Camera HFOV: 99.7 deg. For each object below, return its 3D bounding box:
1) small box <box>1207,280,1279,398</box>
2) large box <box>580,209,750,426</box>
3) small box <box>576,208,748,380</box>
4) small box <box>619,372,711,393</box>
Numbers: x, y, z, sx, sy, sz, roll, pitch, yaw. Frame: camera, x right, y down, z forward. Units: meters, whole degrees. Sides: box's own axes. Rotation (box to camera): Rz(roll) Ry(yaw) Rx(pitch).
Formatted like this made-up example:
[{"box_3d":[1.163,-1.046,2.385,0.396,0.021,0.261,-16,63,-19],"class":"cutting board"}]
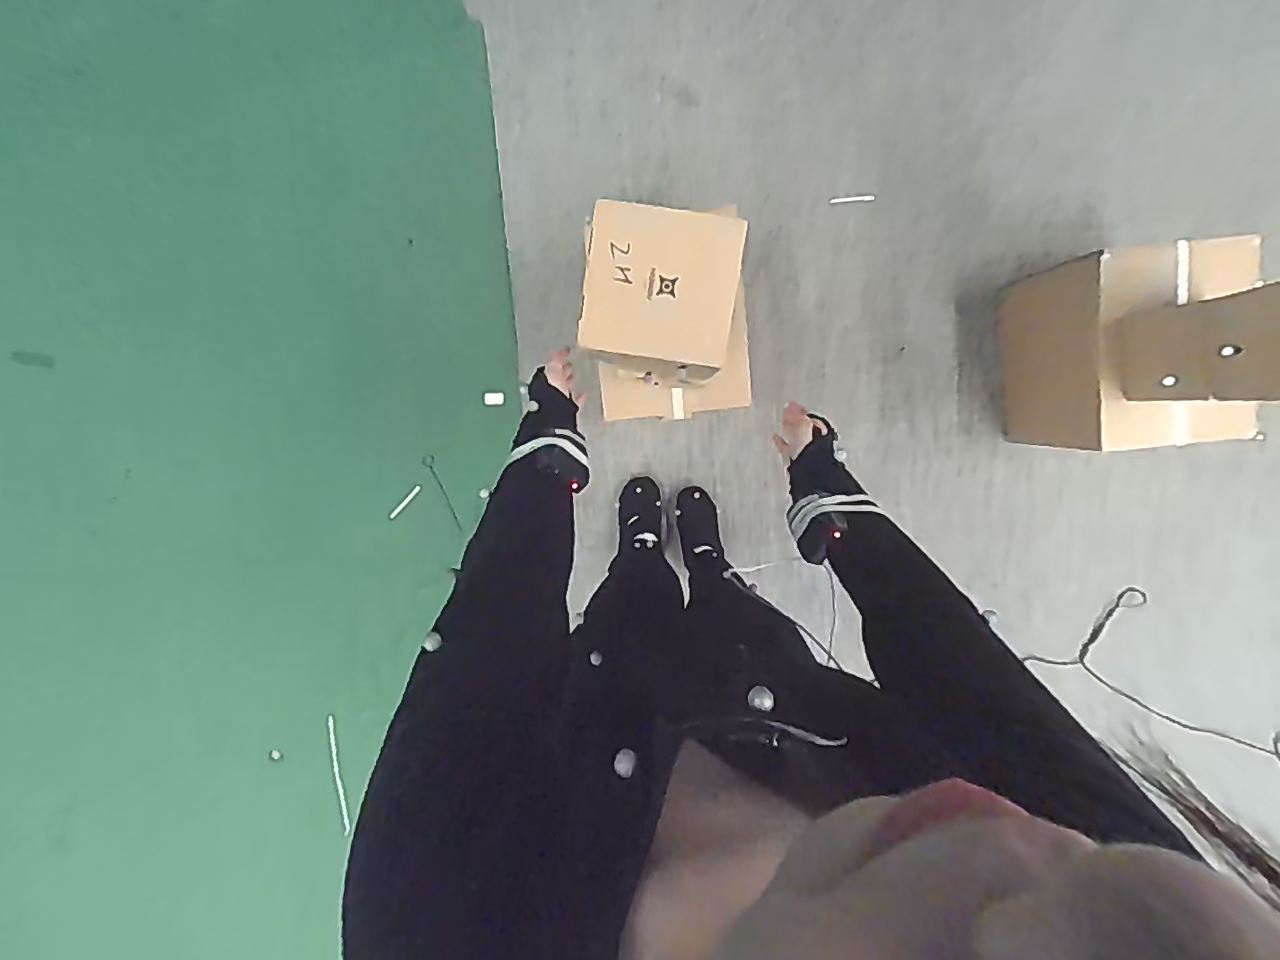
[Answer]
[{"box_3d":[1.047,-0.228,0.836,0.168,0.176,0.179,-14,98,4],"class":"small box"},{"box_3d":[0.060,-0.344,1.253,0.320,0.320,0.408,-6,96,2],"class":"large box"},{"box_3d":[0.026,-0.224,0.695,0.179,0.176,0.168,9,97,1],"class":"small box"},{"box_3d":[0.052,-0.262,1.019,0.168,0.176,0.179,5,98,1],"class":"small box"}]
